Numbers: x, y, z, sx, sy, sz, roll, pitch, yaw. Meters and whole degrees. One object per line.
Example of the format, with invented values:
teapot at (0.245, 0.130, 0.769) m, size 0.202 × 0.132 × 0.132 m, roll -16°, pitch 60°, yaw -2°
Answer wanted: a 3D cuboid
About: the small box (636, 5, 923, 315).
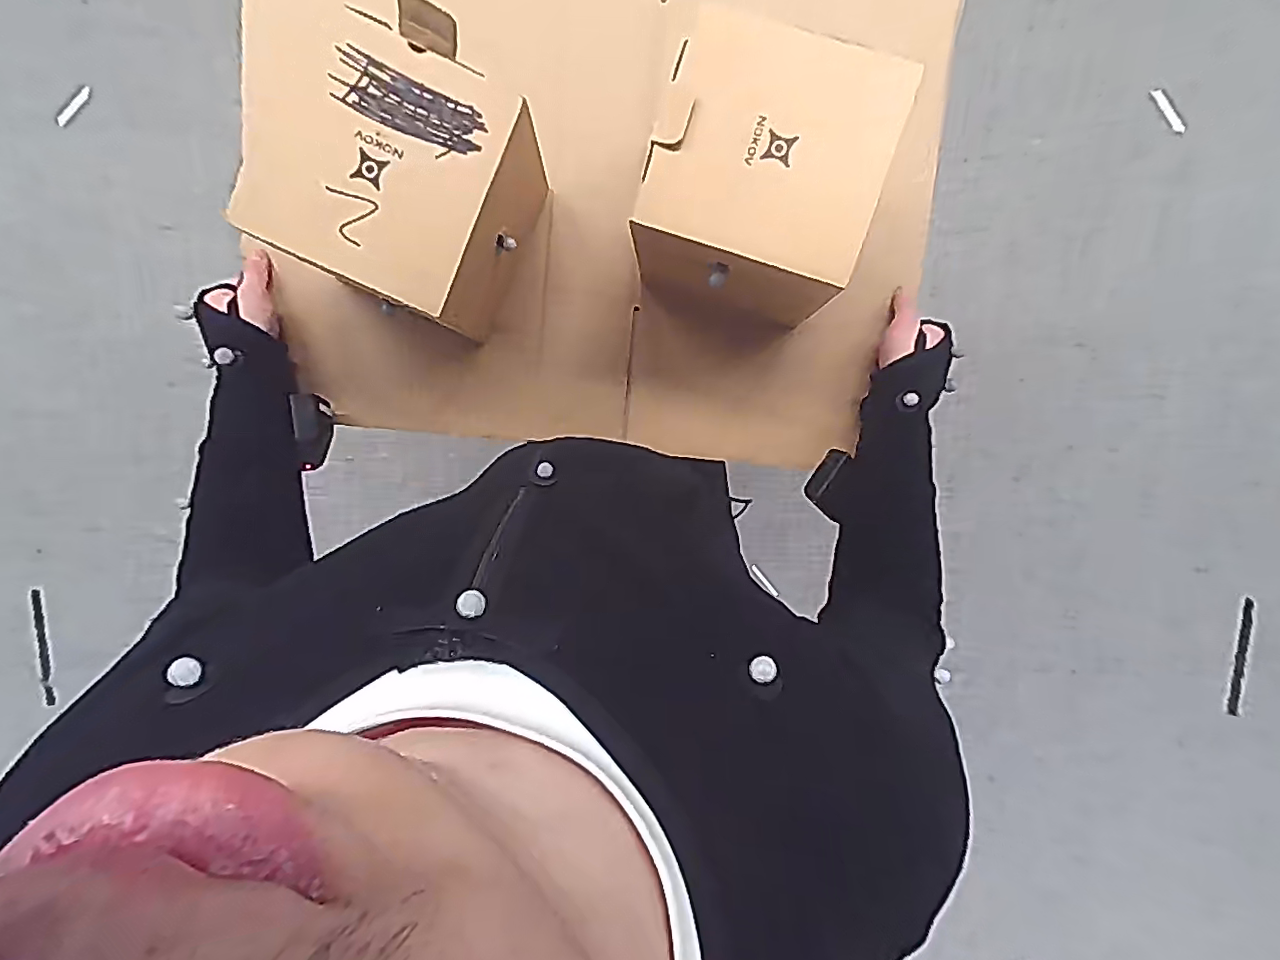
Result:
small box at (0.109, -0.262, 0.491) m, size 0.179 × 0.176 × 0.168 m, roll 18°, pitch 97°, yaw 2°
